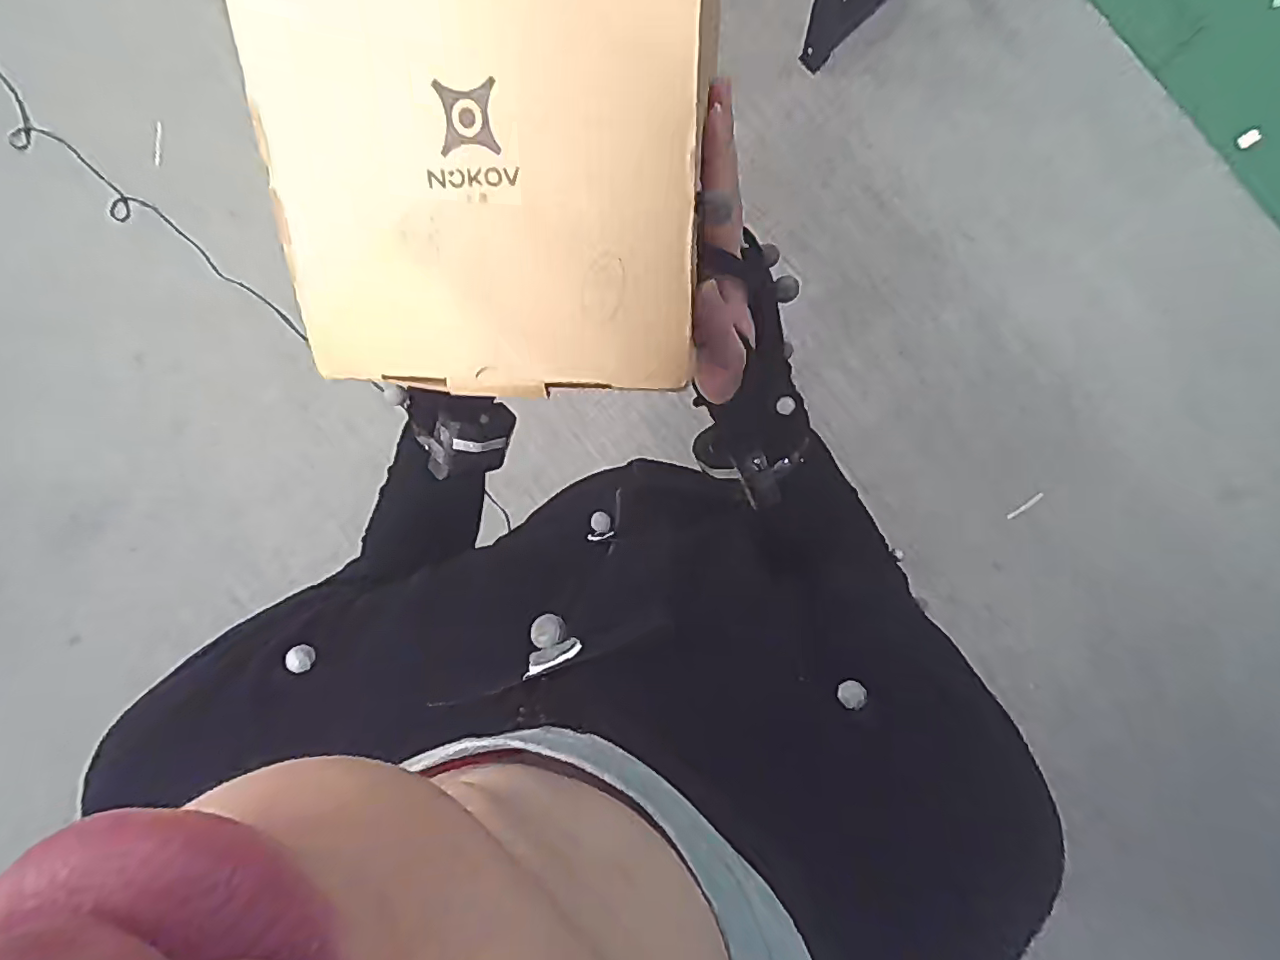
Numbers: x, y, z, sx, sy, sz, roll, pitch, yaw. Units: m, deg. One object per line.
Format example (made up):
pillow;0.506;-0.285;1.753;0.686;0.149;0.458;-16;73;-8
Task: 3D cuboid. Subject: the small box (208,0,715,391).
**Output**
small box;-0.051;-0.152;0.260;0.168;0.176;0.179;2;114;6
